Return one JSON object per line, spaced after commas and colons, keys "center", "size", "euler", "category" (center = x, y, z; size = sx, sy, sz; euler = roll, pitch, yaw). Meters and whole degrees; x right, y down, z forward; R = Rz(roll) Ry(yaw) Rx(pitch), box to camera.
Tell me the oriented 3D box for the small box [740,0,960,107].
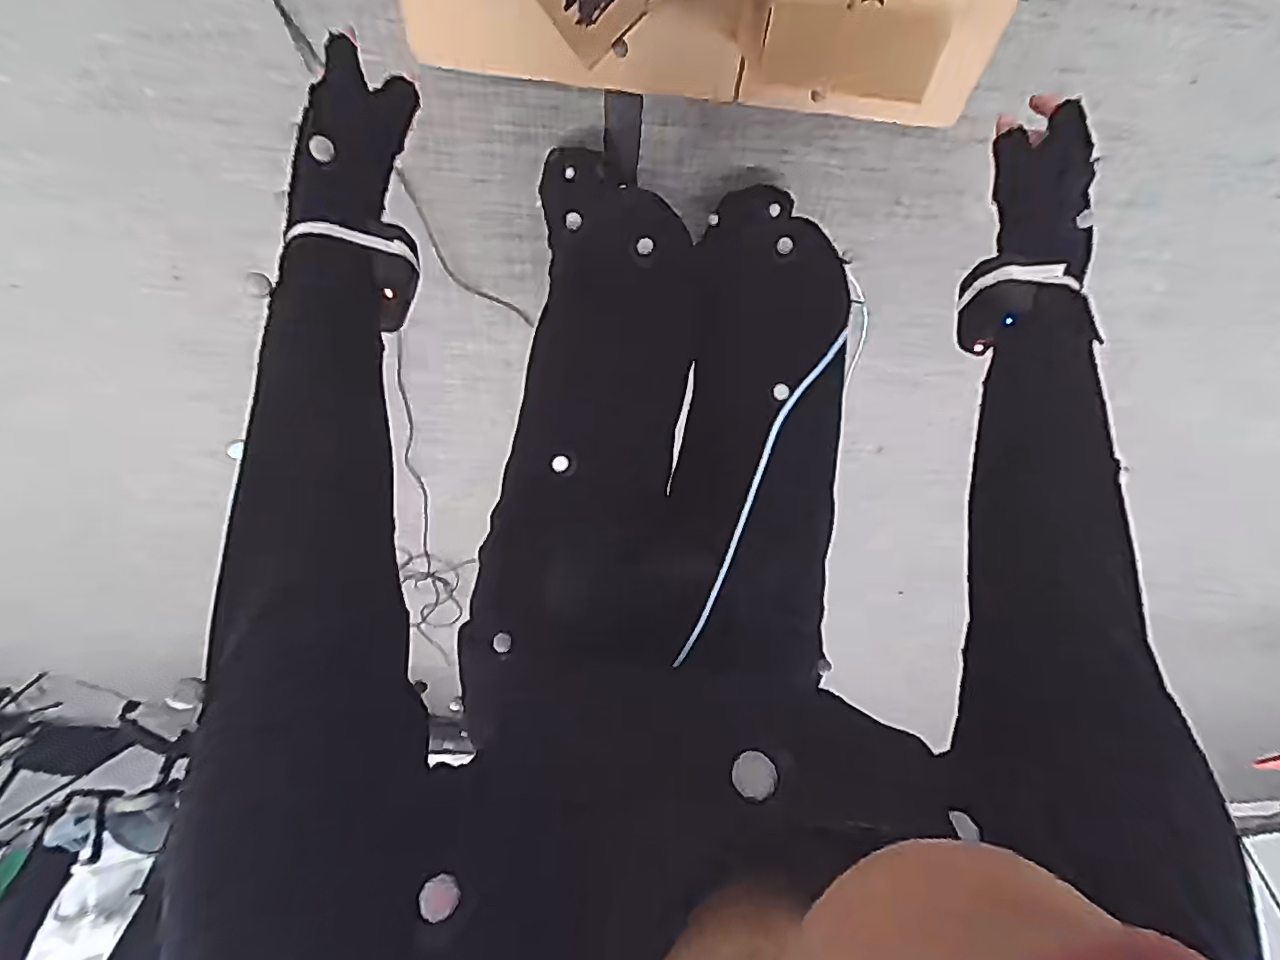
{"center": [0.208, -0.503, 0.538], "size": [0.179, 0.176, 0.168], "euler": [6, 140, -3], "category": "small box"}
